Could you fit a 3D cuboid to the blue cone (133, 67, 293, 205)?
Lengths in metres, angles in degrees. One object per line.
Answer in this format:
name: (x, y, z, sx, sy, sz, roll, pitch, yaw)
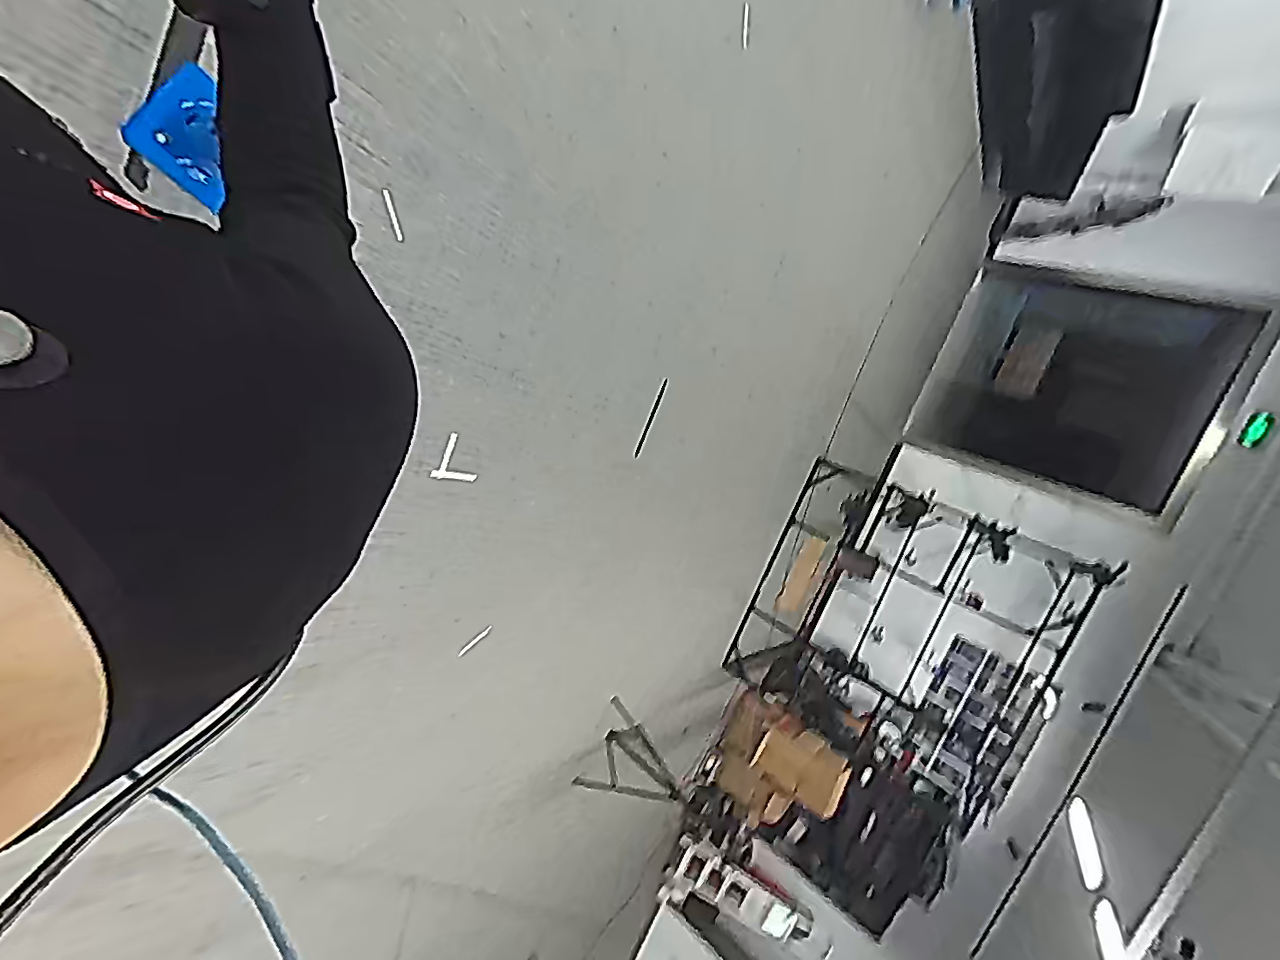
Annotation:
blue cone: (-0.731, -0.612, 0.984, 0.192, 0.380, 0.193, -56, 146, -11)
